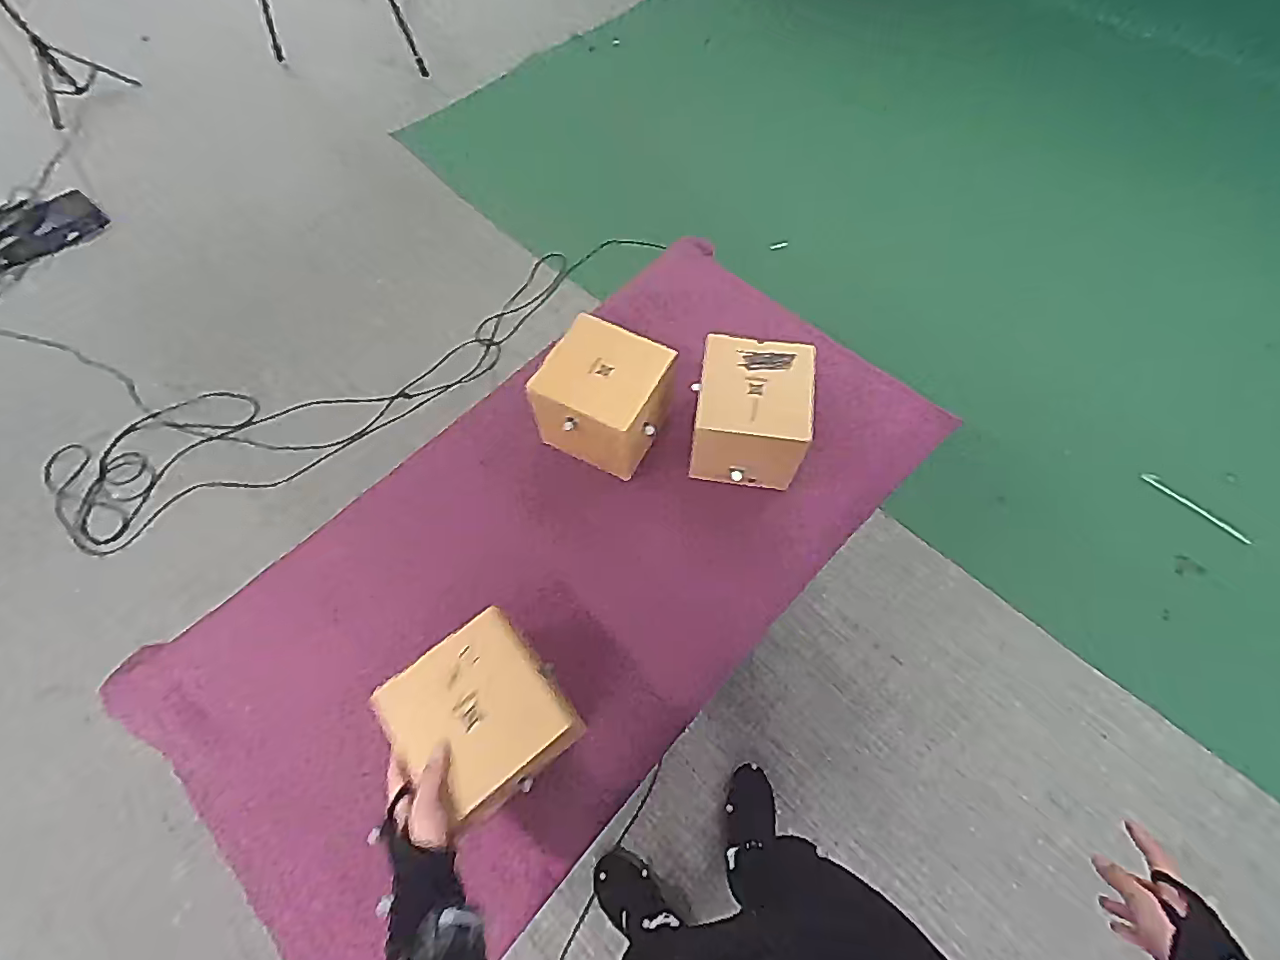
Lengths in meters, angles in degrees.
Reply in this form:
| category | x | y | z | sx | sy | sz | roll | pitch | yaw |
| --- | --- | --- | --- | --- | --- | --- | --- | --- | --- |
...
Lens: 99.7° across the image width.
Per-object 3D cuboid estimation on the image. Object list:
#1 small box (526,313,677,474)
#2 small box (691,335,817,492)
| category | x | y | z | sx | sy | sz | roll | pitch | yaw |
| --- | --- | --- | --- | --- | --- | --- | --- | --- | --- |
| small box | -0.055 | -0.131 | 0.884 | 0.179 | 0.176 | 0.168 | 26 | 68 | 13 |
| small box | 0.175 | -0.101 | 0.863 | 0.168 | 0.176 | 0.179 | 8 | 66 | 6 |
